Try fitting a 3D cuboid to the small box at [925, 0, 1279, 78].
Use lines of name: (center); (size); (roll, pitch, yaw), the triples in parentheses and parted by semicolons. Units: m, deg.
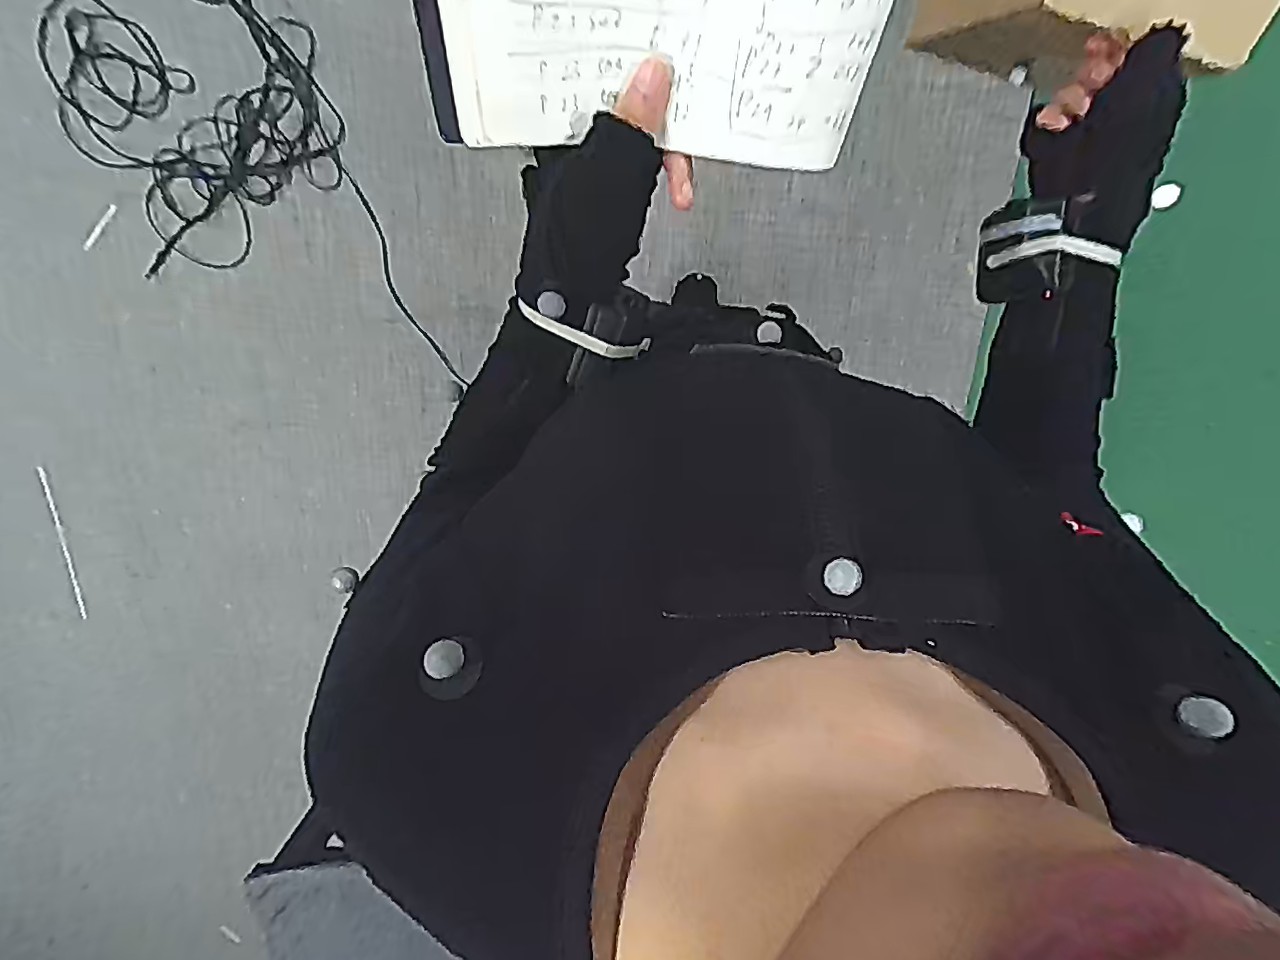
small box: (0.340, -0.411, 0.376); (0.168, 0.176, 0.179); (7, 121, -11)
